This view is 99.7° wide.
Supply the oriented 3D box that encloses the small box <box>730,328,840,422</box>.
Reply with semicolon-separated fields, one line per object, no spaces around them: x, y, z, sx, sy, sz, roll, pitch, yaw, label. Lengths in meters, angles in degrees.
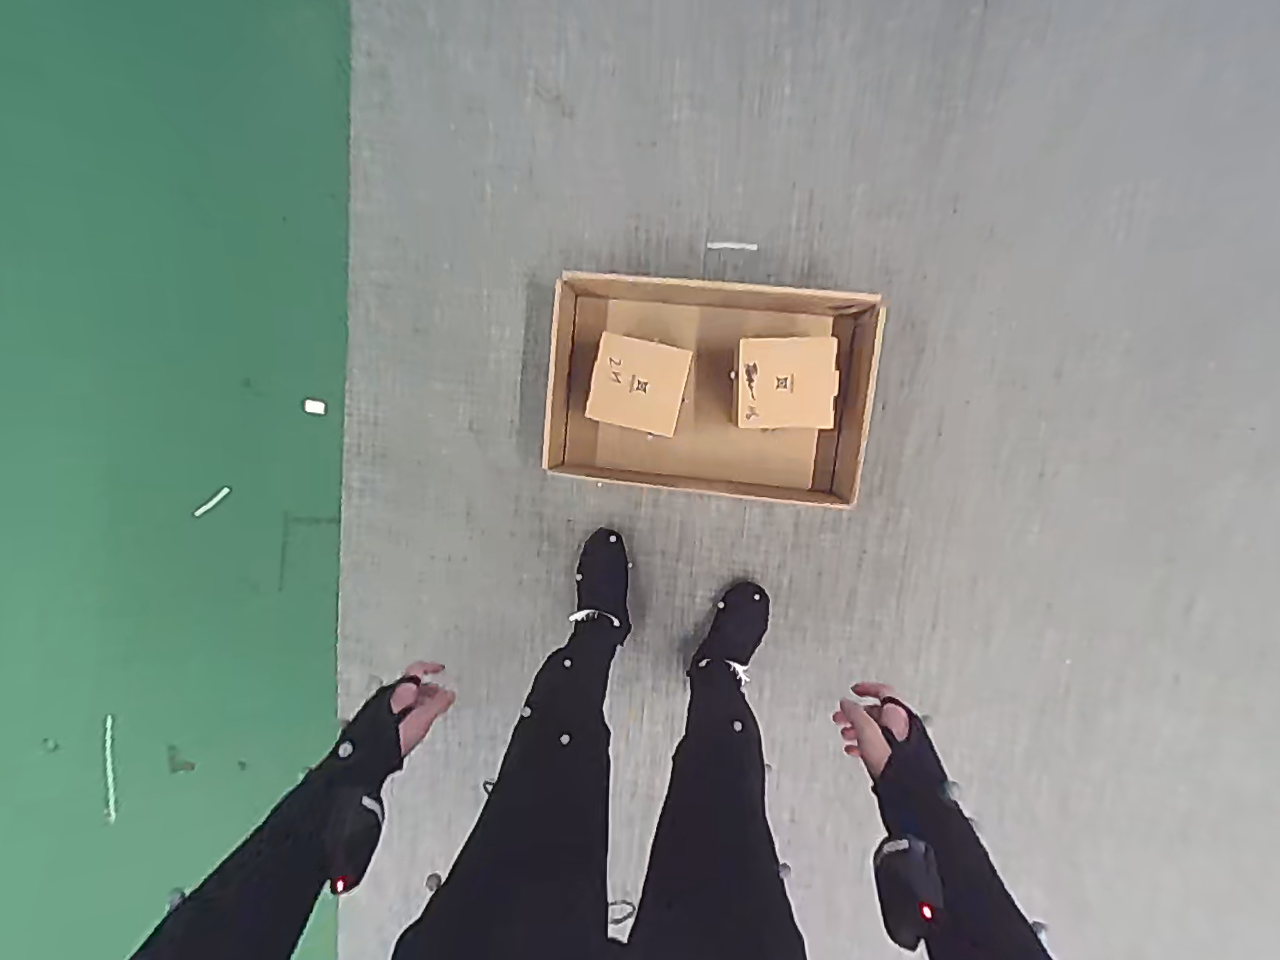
0.271;-0.200;1.047;0.179;0.176;0.168;1;98;6;small box
